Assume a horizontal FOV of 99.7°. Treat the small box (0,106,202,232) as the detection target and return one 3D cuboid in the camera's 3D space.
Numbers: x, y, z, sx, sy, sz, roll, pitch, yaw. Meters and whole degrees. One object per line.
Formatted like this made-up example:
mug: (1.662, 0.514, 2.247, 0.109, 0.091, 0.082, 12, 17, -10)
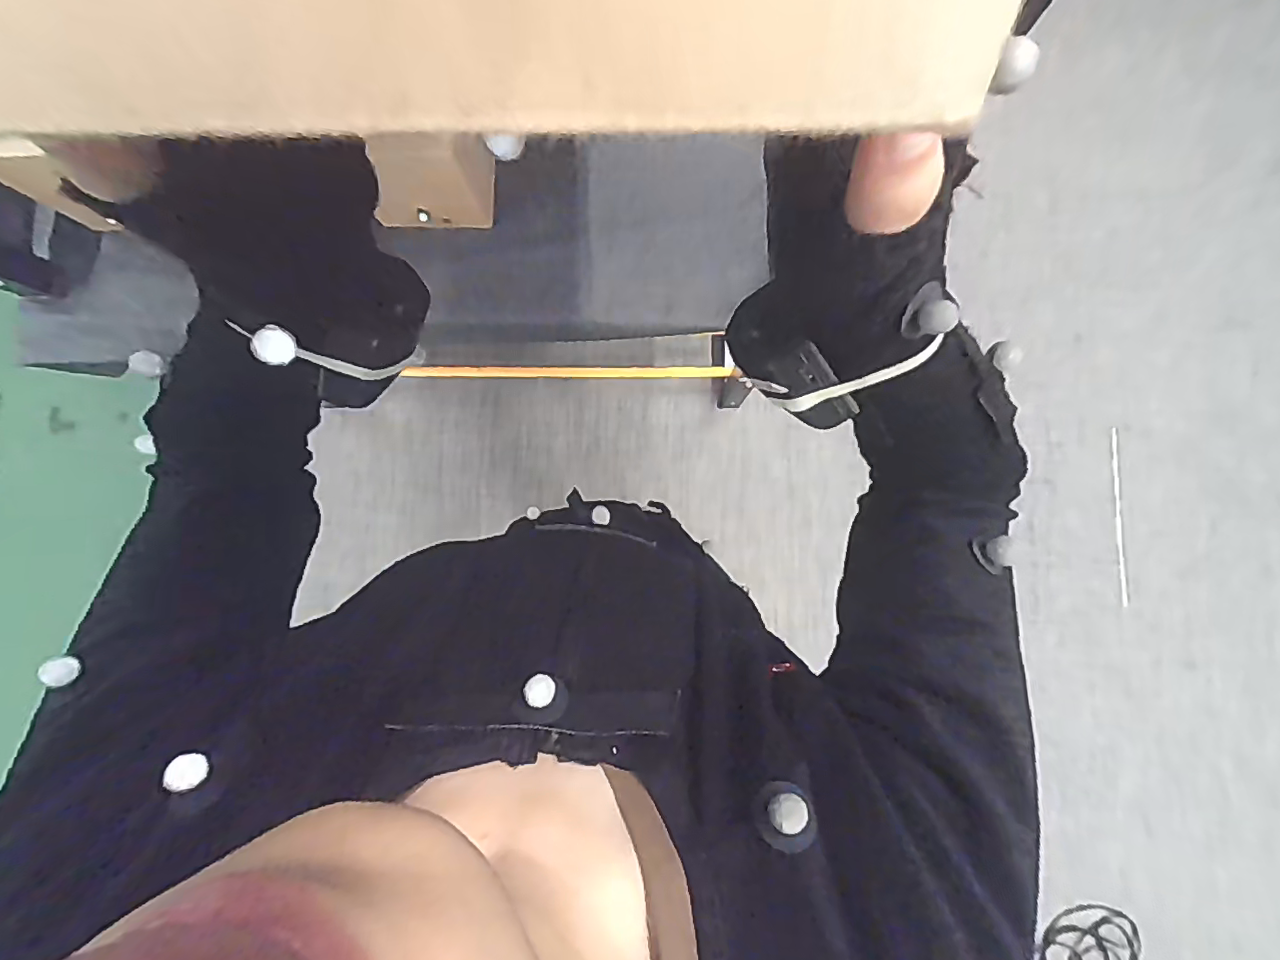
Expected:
small box: (-0.741, -0.467, 0.739, 0.168, 0.176, 0.179, -2, 86, 1)
